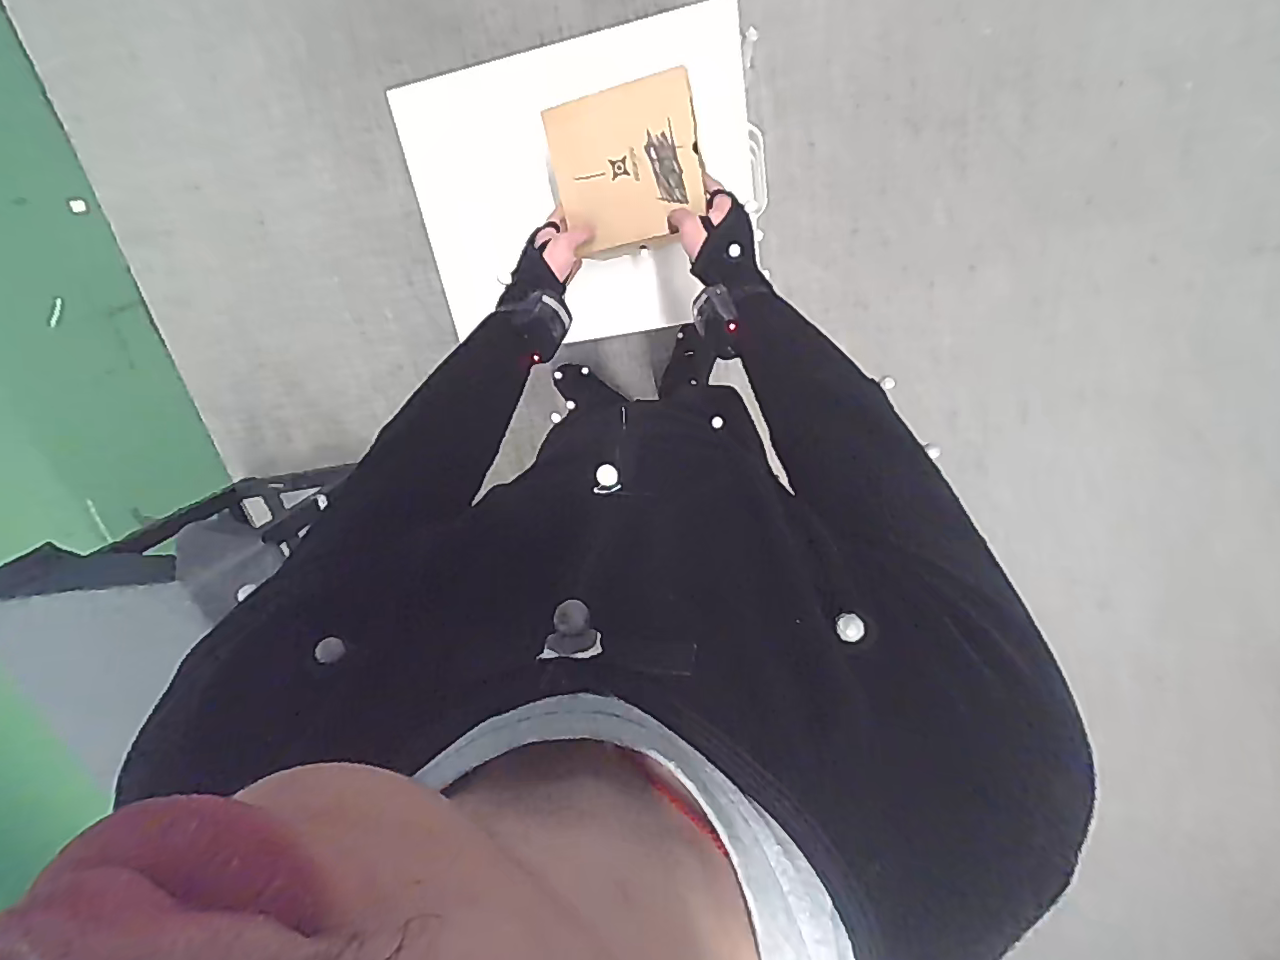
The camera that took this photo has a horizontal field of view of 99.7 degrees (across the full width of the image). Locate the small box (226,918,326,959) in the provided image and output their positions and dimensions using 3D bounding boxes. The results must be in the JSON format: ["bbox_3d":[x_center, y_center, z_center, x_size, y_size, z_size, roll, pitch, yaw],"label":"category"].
[{"bbox_3d":[-0.959,1.271,1.393,0.168,0.176,0.179,-7,111,11],"label":"small box"}]

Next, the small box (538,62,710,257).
[{"bbox_3d":[-0.007,-0.391,0.693,0.179,0.176,0.168,-8,108,11],"label":"small box"}]
